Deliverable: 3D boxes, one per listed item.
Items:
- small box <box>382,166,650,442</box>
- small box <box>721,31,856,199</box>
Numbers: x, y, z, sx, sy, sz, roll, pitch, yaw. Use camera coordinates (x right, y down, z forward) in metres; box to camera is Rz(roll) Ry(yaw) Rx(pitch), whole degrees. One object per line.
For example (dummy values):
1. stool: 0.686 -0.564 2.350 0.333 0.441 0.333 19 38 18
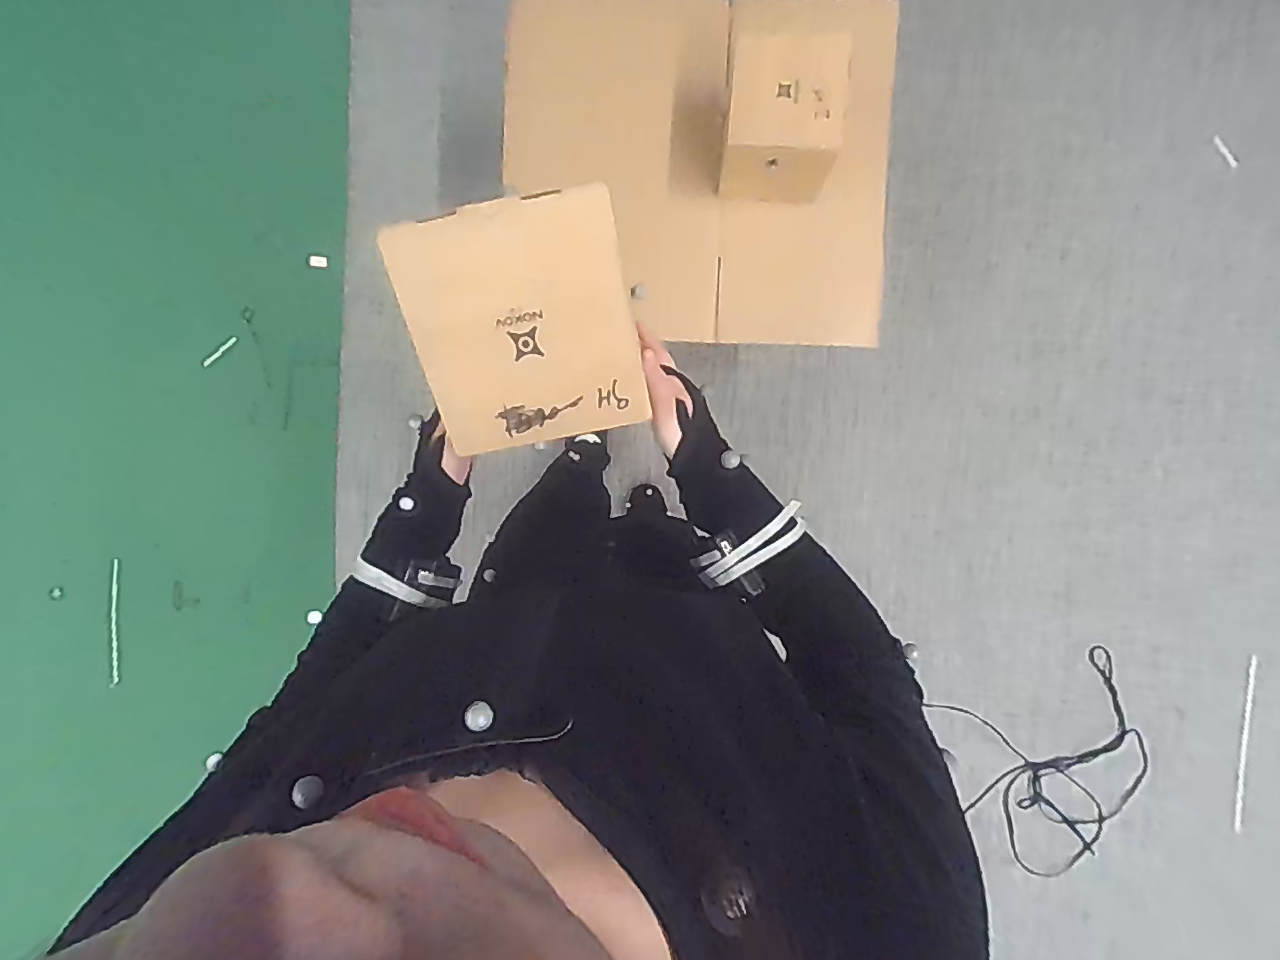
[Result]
1. small box: -0.088 -0.152 0.476 0.168 0.176 0.179 -10 113 4
2. small box: 0.230 -0.581 0.881 0.179 0.176 0.168 6 94 4
